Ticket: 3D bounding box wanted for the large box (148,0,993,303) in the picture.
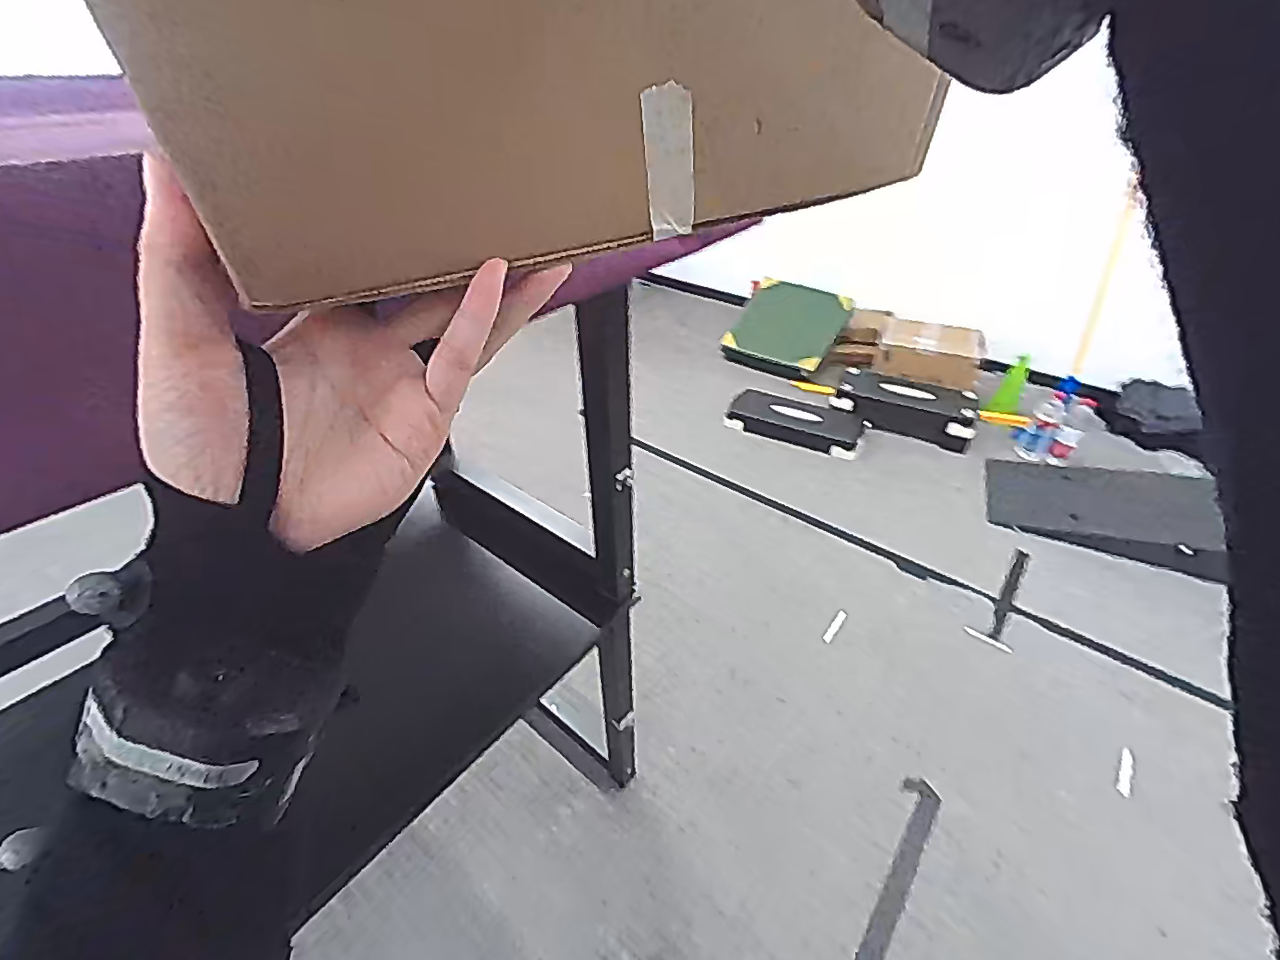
[{"bbox_3d":[-0.077,-0.325,0.239,0.320,0.320,0.408,-21,47,-22],"label":"large box"}]
